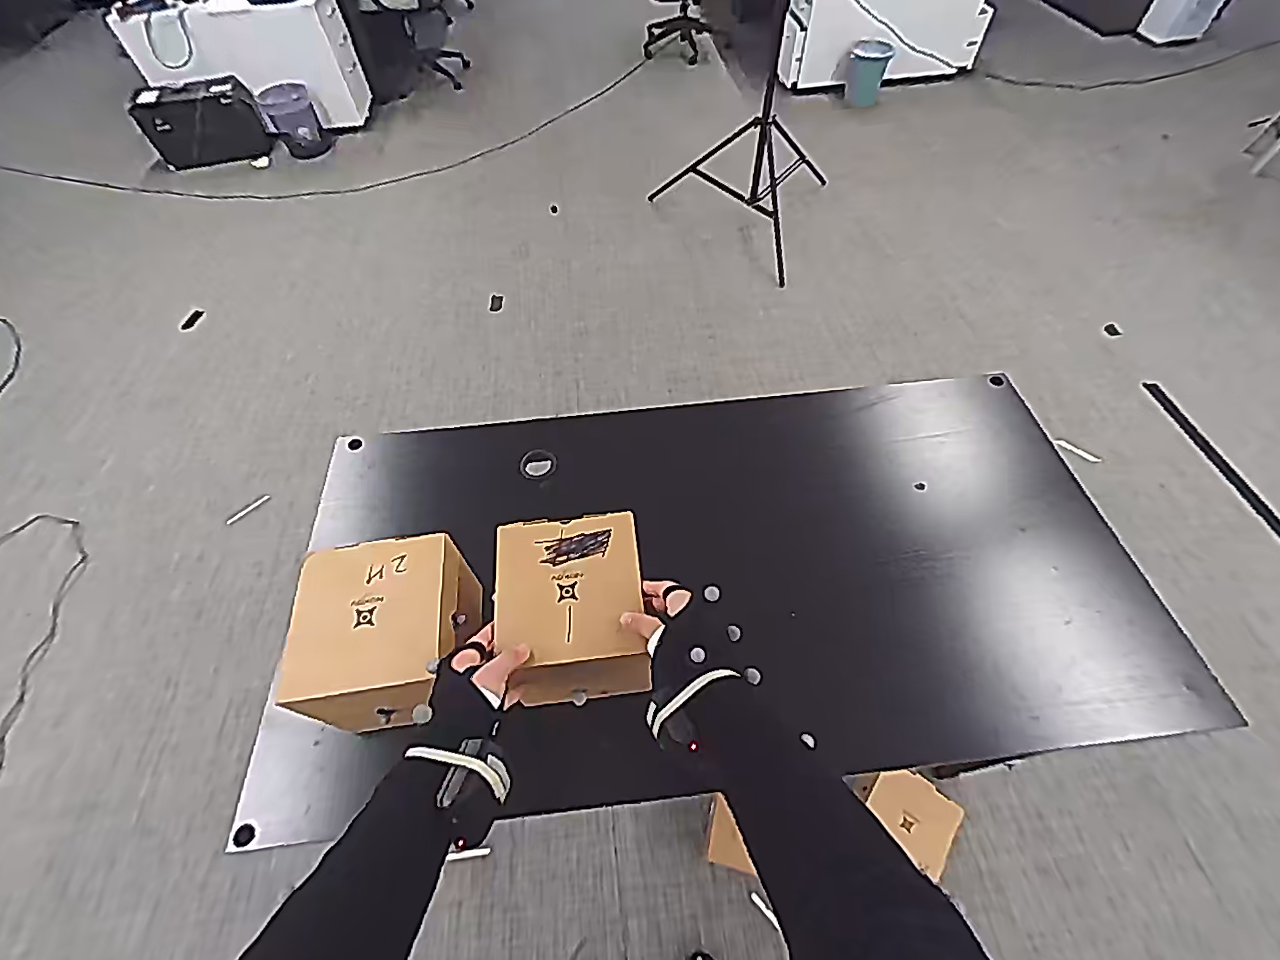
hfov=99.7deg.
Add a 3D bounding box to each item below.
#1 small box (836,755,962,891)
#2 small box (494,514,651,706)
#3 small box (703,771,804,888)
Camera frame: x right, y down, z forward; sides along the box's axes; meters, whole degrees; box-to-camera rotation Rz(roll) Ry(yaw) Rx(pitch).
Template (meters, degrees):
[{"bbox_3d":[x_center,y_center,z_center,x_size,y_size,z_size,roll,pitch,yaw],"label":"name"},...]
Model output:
[{"bbox_3d":[0.541,0.724,1.151,0.168,0.176,0.179,31,62,21],"label":"small box"},{"bbox_3d":[-0.078,0.165,0.675,0.168,0.176,0.179,-7,56,-2],"label":"small box"},{"bbox_3d":[0.238,0.742,1.154,0.179,0.176,0.168,10,56,10],"label":"small box"}]
